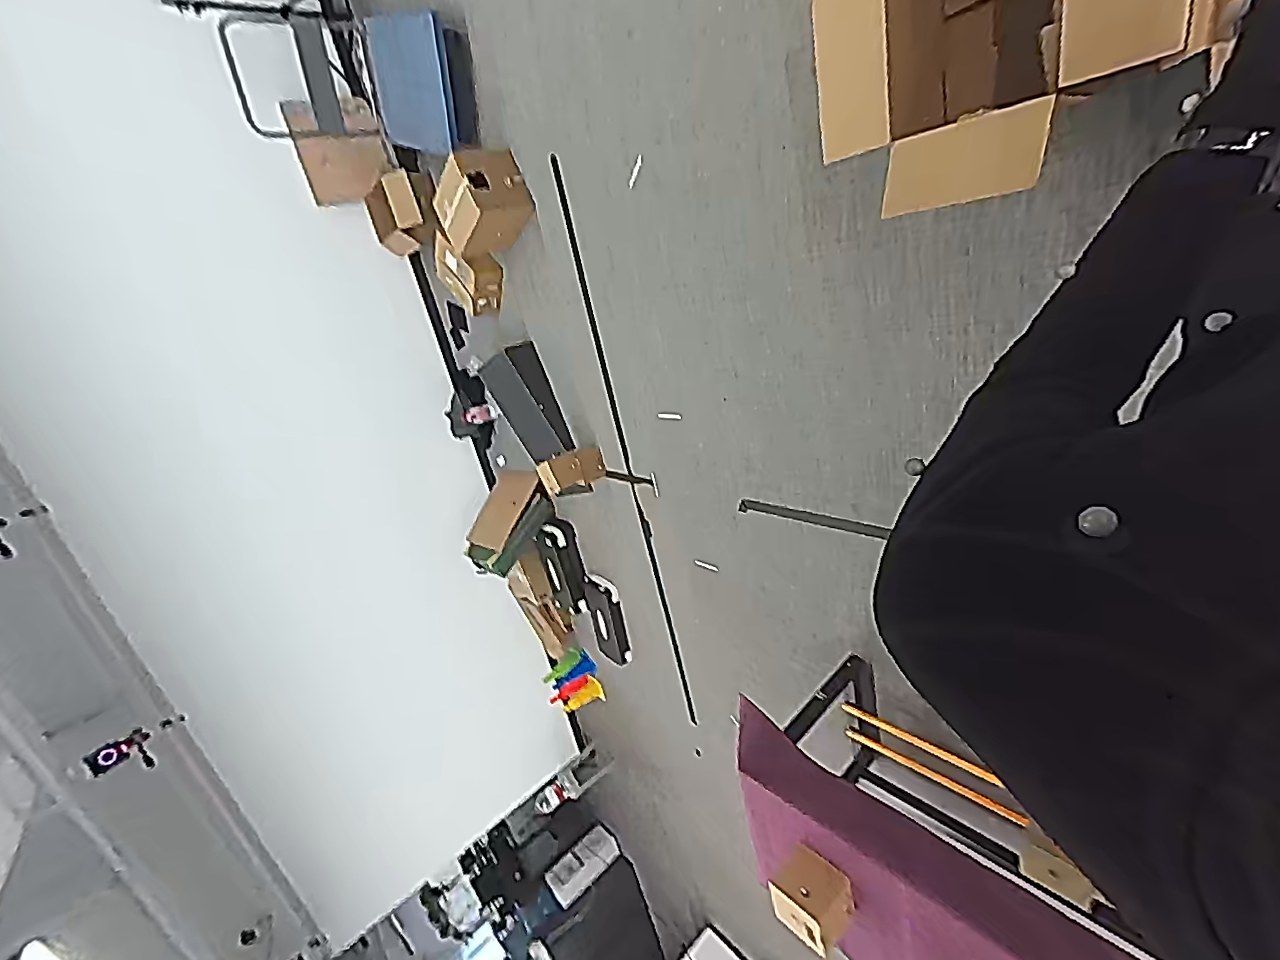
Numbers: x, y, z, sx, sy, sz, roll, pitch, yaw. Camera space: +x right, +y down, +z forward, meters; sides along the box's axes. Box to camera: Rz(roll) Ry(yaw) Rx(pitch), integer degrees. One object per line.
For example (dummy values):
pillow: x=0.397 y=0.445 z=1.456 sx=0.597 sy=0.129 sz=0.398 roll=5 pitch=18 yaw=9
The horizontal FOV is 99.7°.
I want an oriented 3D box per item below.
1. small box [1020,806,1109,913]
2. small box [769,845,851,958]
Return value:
small box: x=1.290 y=1.141 z=1.648 sx=0.179 sy=0.176 sz=0.168 roll=10 pitch=120 yaw=51
small box: x=0.523 y=1.269 z=1.643 sx=0.179 sy=0.176 sz=0.168 roll=11 pitch=121 yaw=50
